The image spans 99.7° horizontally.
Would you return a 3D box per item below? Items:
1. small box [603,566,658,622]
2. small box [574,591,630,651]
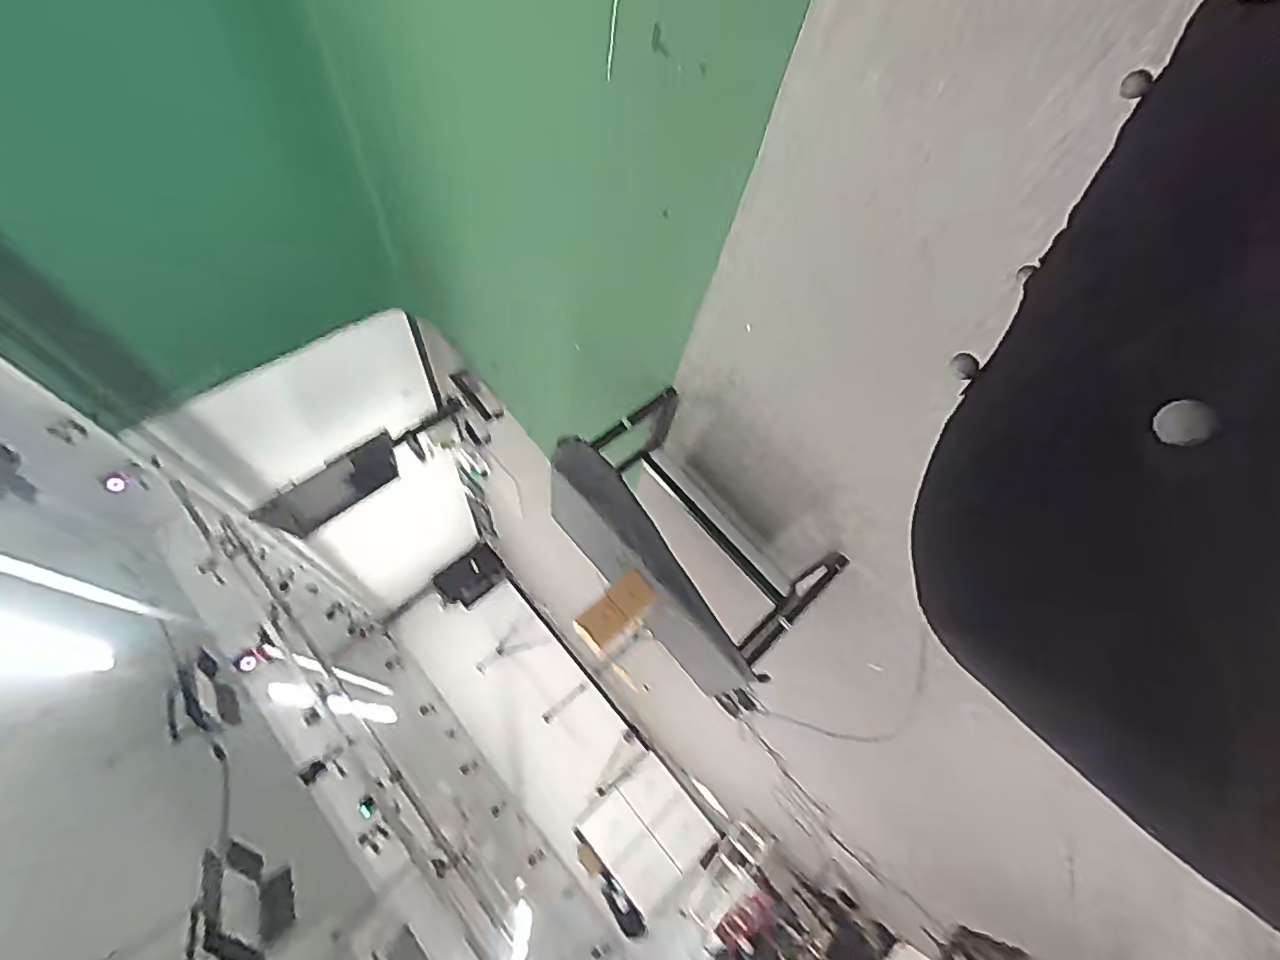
[{"bbox_3d":[-0.046,0.497,2.356,0.179,0.176,0.168,46,156,18],"label":"small box"},{"bbox_3d":[-0.161,0.598,2.296,0.168,0.176,0.179,46,156,14],"label":"small box"}]
